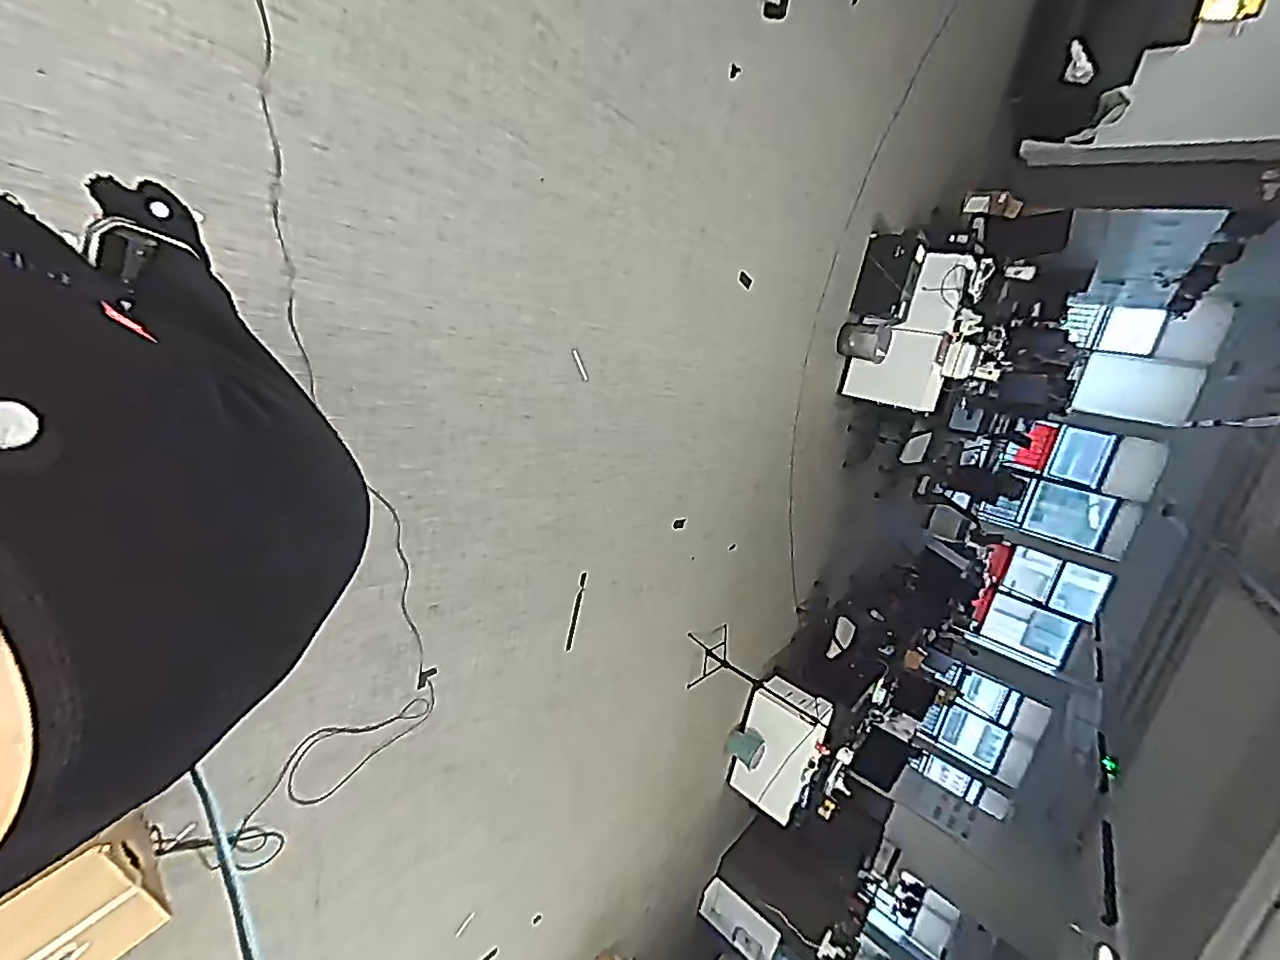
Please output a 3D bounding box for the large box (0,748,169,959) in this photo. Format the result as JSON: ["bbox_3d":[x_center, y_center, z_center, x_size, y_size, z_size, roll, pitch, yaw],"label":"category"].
[{"bbox_3d":[-1.314,0.865,1.108,0.408,0.320,0.320,-32,131,-40],"label":"large box"}]
